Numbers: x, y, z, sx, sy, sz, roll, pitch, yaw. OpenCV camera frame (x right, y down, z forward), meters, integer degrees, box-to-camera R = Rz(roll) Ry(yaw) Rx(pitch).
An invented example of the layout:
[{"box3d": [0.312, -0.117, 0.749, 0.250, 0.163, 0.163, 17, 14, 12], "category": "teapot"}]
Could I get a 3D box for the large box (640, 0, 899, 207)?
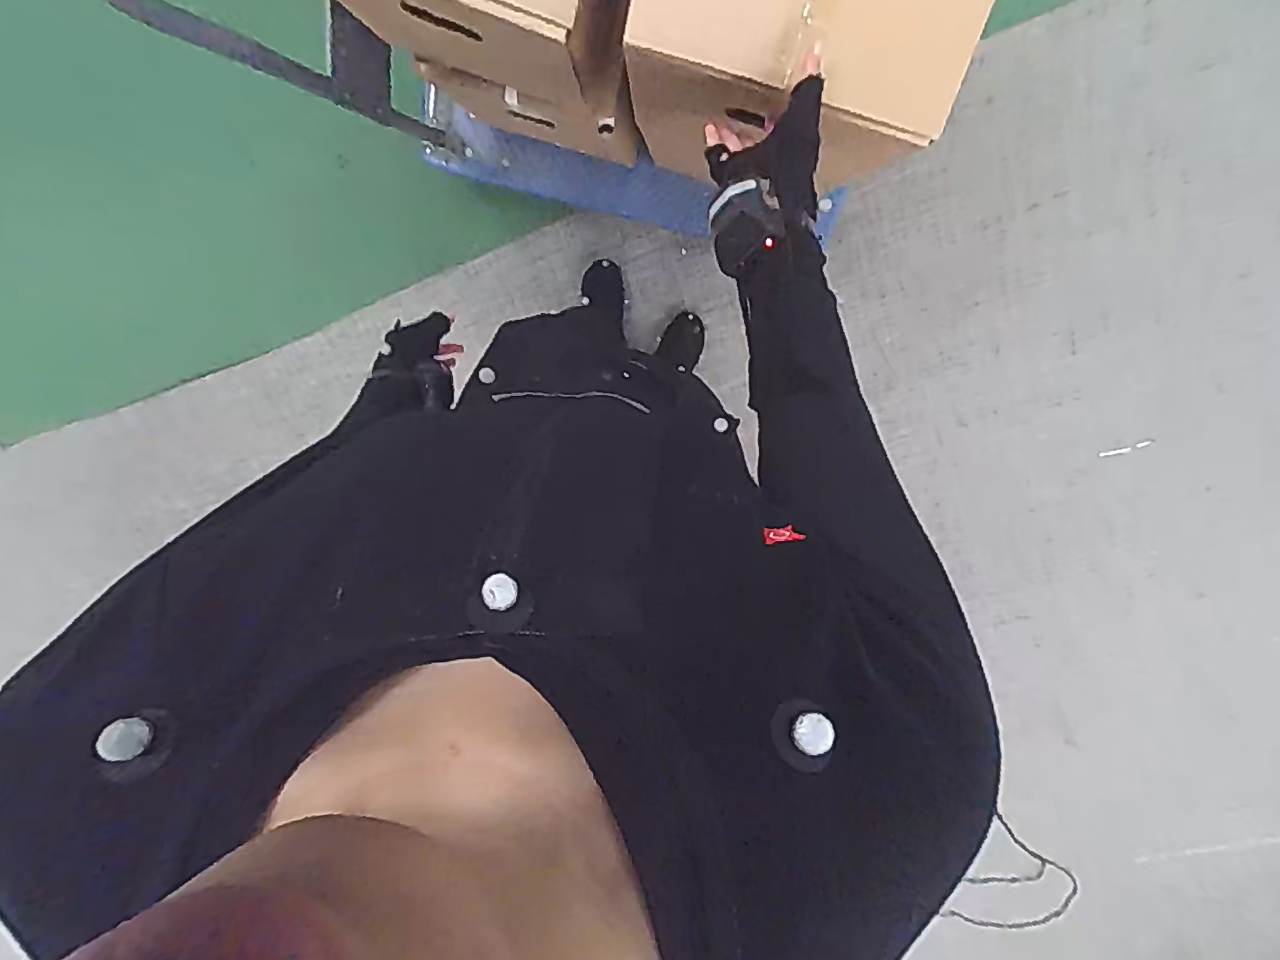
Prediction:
[{"box3d": [0.209, -0.709, 0.875, 0.320, 0.320, 0.408, 16, 113, 2], "category": "large box"}]
